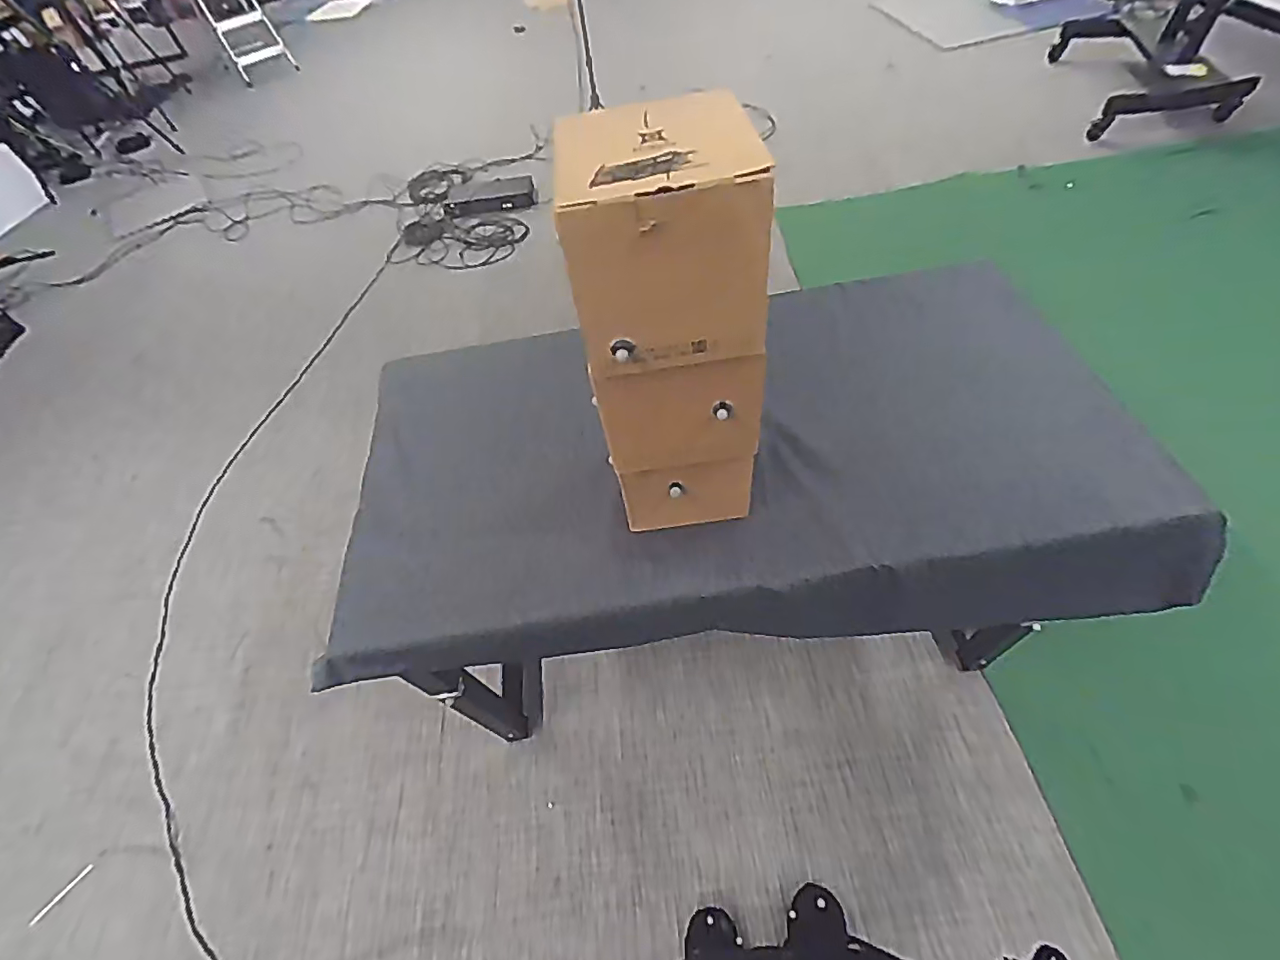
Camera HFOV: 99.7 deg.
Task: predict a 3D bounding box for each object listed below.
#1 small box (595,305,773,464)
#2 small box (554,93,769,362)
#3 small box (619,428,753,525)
[{"bbox_3d":[0.039,-0.141,0.630,0.179,0.176,0.168,-11,54,0],"label":"small box"},{"bbox_3d":[0.019,-0.227,0.511,0.168,0.176,0.179,-8,52,2],"label":"small box"},{"bbox_3d":[0.057,-0.052,0.788,0.179,0.176,0.168,-10,53,0],"label":"small box"}]
